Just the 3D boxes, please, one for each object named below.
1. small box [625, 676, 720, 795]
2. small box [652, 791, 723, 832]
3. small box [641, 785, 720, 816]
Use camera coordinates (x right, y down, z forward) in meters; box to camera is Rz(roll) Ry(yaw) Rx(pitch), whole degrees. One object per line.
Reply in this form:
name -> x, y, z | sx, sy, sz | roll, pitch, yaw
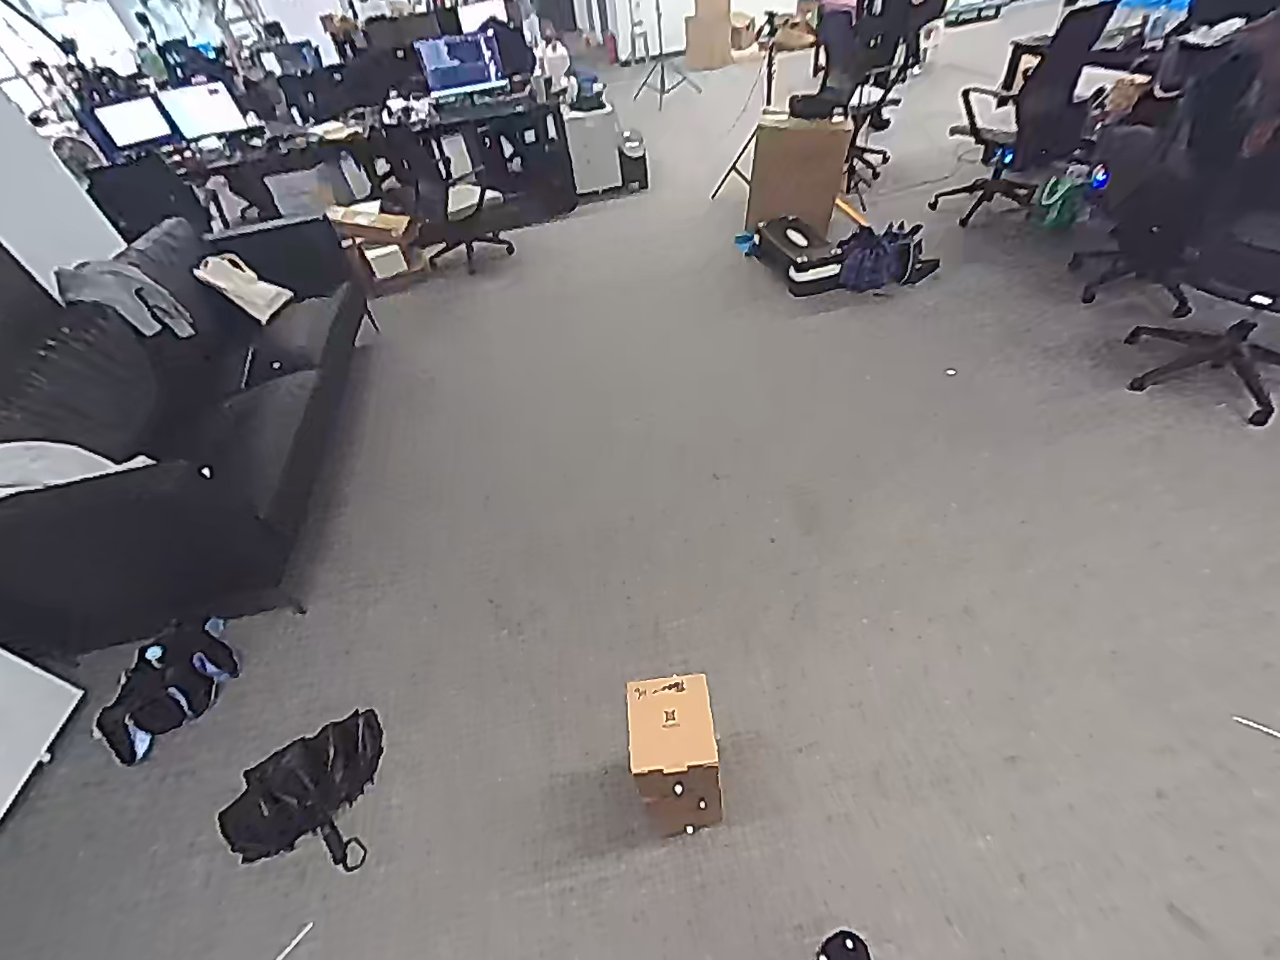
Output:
small box -> 0.067, 0.522, 1.094 | 0.168, 0.176, 0.179 | -8, 47, 3
small box -> 0.101, 0.738, 1.334 | 0.168, 0.176, 0.179 | -14, 47, -3
small box -> 0.080, 0.631, 1.214 | 0.168, 0.176, 0.179 | -12, 45, -3
